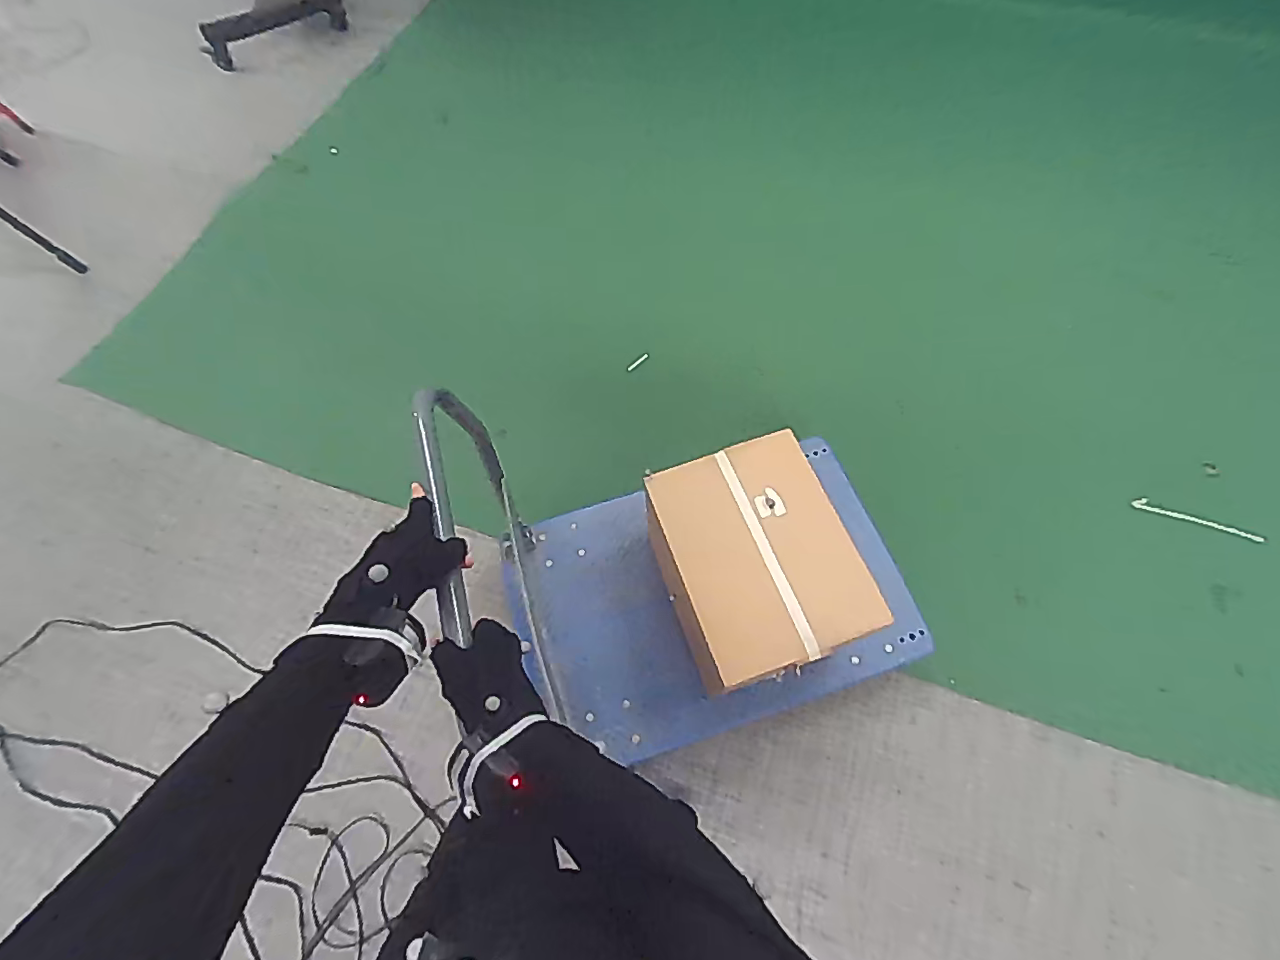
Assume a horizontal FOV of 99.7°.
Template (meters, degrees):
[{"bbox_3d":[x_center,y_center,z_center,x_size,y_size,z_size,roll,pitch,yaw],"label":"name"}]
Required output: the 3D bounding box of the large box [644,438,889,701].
[{"bbox_3d":[0.224,0.194,1.116,0.320,0.320,0.408,-18,64,-7],"label":"large box"}]
